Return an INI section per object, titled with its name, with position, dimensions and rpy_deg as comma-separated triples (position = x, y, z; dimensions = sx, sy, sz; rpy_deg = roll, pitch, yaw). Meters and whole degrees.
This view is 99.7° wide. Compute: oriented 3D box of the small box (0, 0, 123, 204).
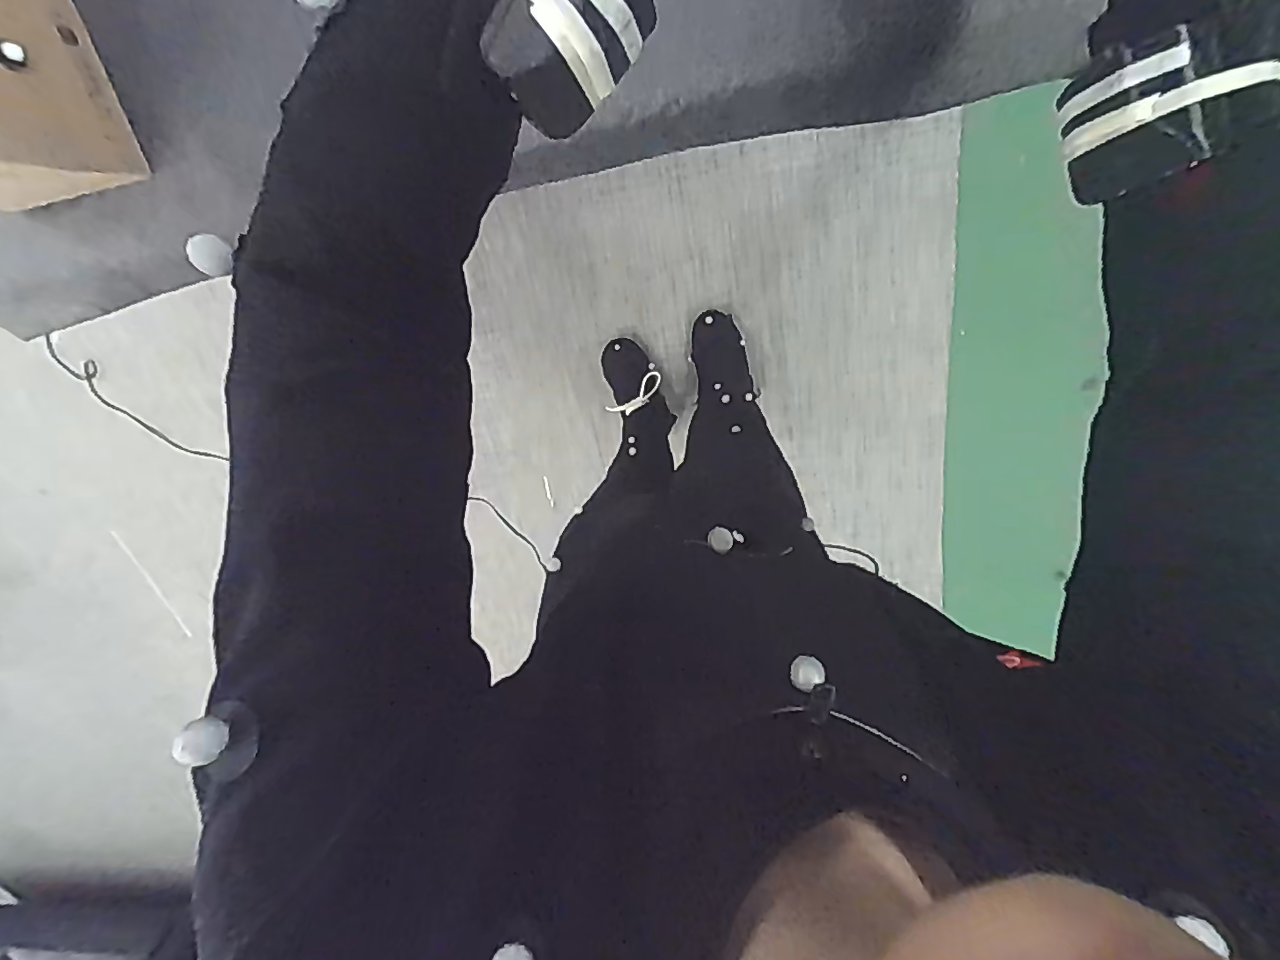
[small box]
position = -0.567, -0.320, 0.418
dimensions = 0.179, 0.176, 0.168
rpy_deg = -5, 114, 11
